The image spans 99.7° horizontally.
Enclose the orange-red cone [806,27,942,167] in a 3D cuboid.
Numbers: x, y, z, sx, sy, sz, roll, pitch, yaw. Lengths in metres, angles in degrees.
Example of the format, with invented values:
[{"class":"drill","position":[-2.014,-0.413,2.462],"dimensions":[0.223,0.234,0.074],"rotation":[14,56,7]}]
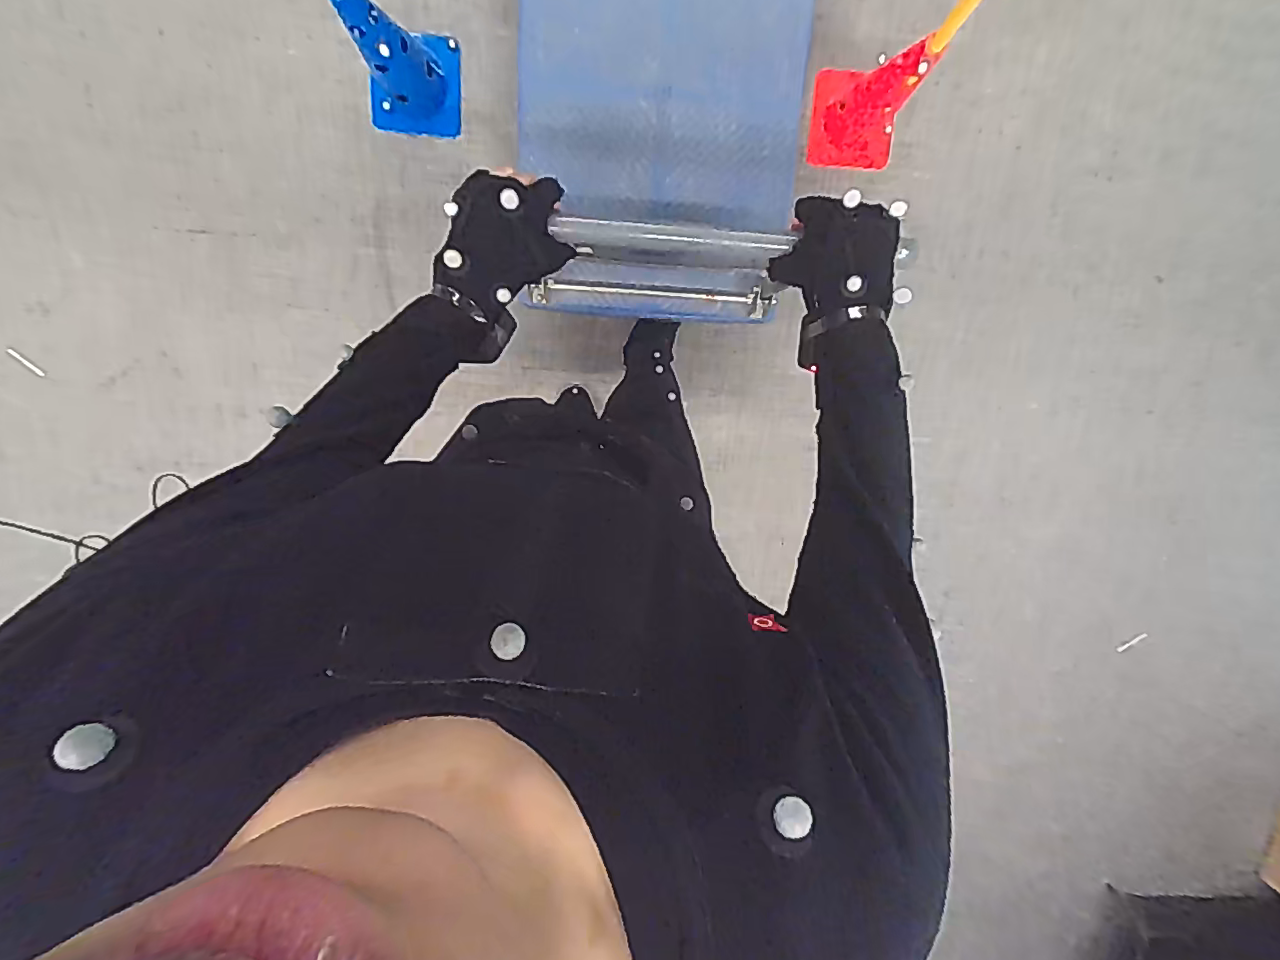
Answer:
[{"class":"orange-red cone","position":[0.504,-0.813,1.114],"dimensions":[0.199,0.360,0.198],"rotation":[4,105,-2]}]
